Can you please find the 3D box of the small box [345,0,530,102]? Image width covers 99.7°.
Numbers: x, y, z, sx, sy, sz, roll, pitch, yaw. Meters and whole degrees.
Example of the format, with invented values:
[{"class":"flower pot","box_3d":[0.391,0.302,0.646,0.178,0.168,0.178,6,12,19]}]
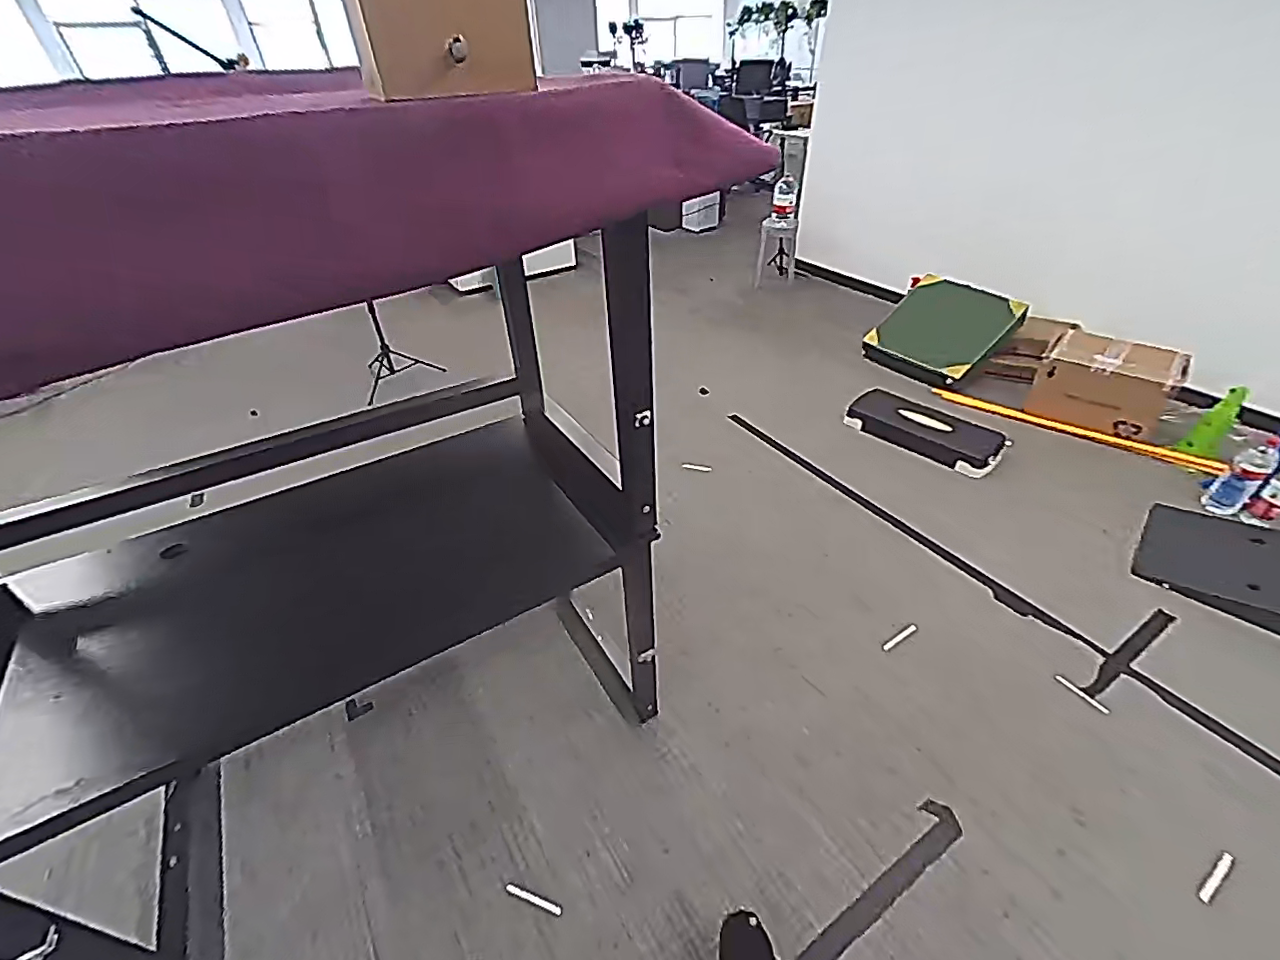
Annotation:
[{"class":"small box","box_3d":[-0.234,-0.539,0.611,0.179,0.176,0.168,-20,40,-20]}]
